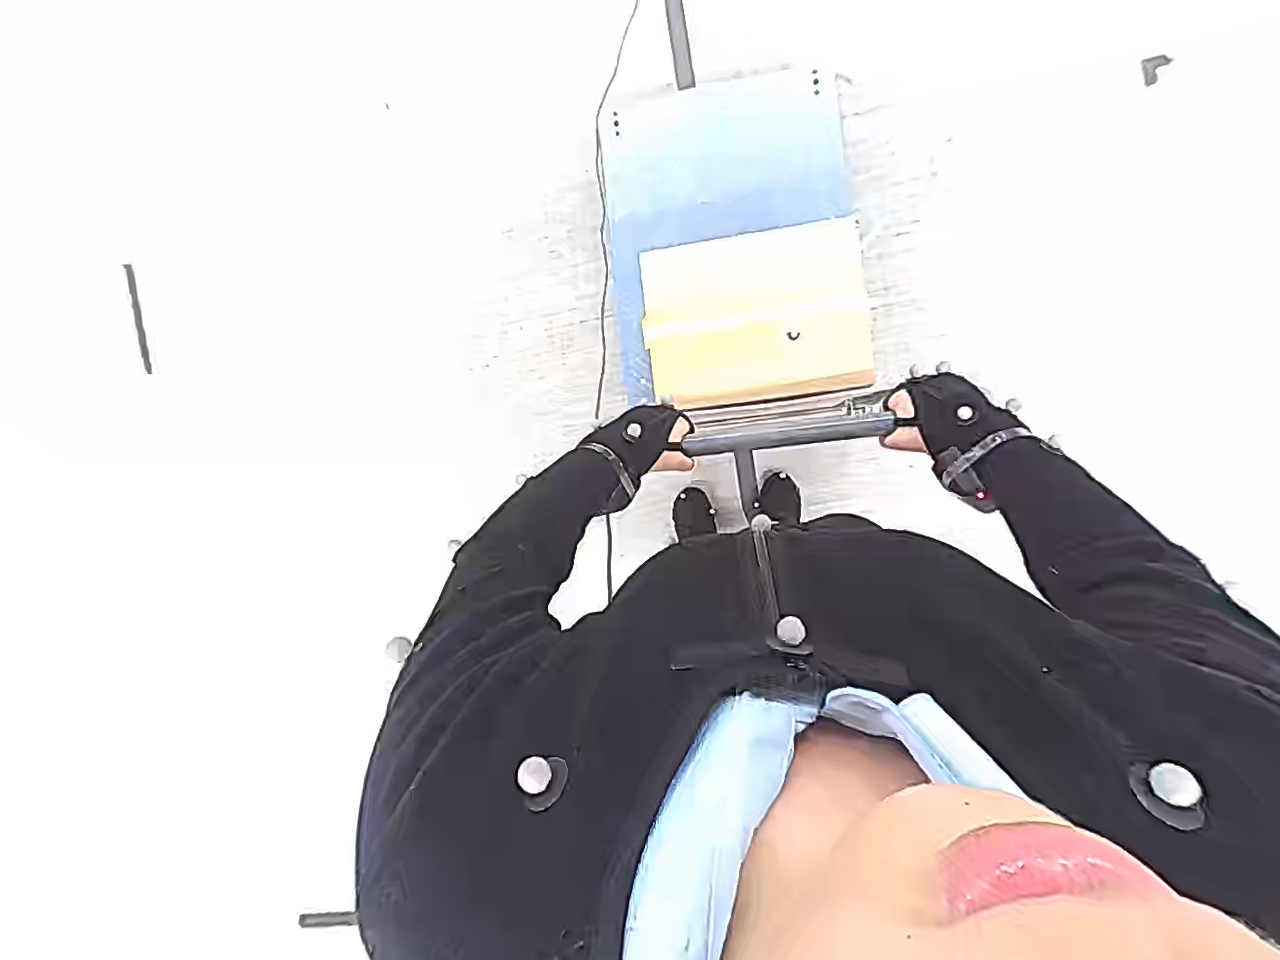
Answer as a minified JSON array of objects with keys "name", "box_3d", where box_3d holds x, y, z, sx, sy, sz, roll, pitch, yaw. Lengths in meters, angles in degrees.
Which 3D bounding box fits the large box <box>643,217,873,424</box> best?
[{"name":"large box","box_3d":[0.237,-0.313,1.174,0.408,0.320,0.320,-7,91,8]}]
